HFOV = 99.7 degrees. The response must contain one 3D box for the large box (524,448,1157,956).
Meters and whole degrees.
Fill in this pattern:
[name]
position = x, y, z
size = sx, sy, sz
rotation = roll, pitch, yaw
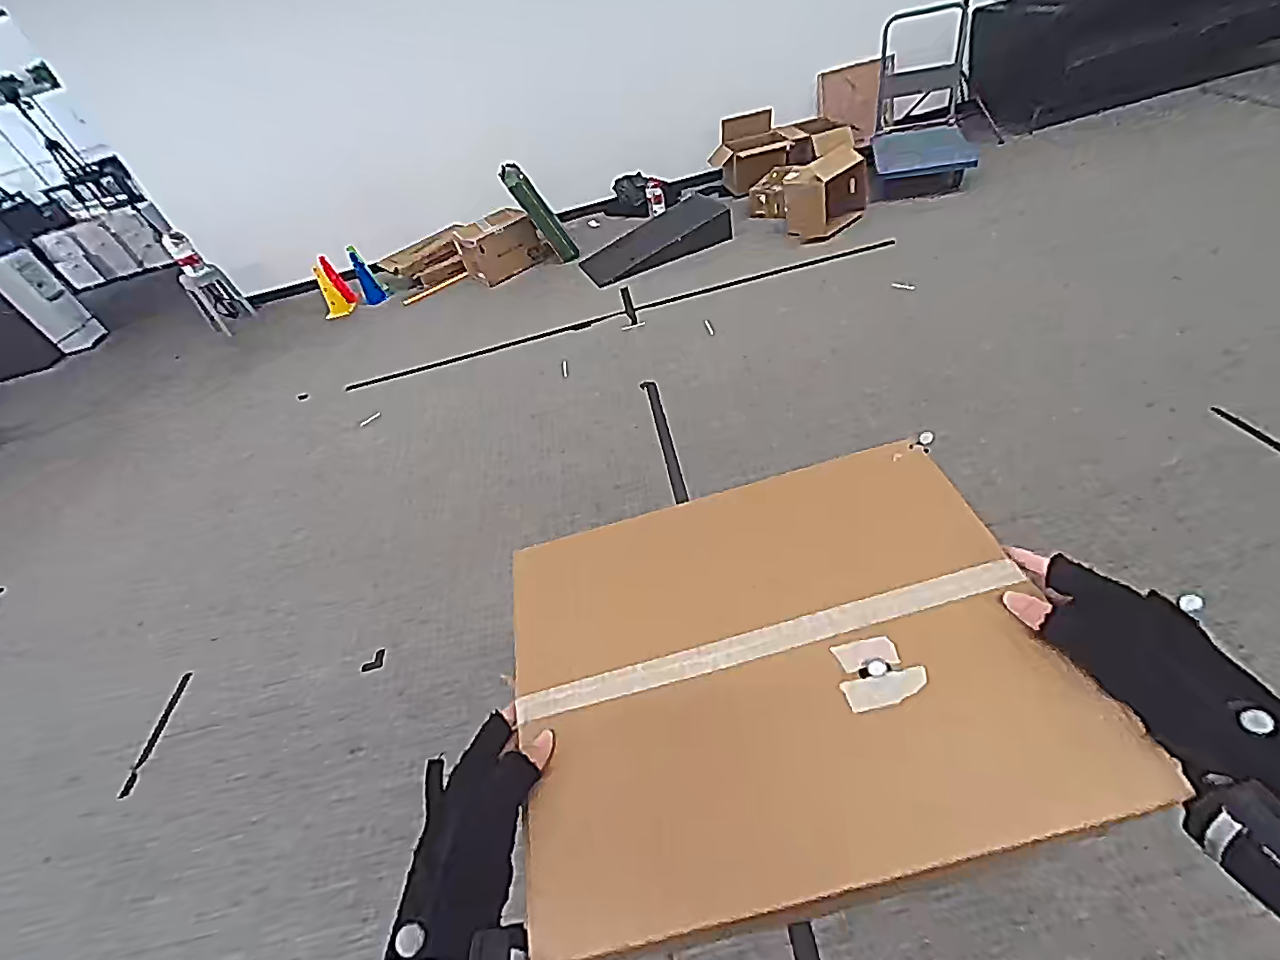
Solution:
[large box]
position = 0.132, 0.228, 0.545
size = 0.408, 0.320, 0.320
rotation = -16, 48, 1
